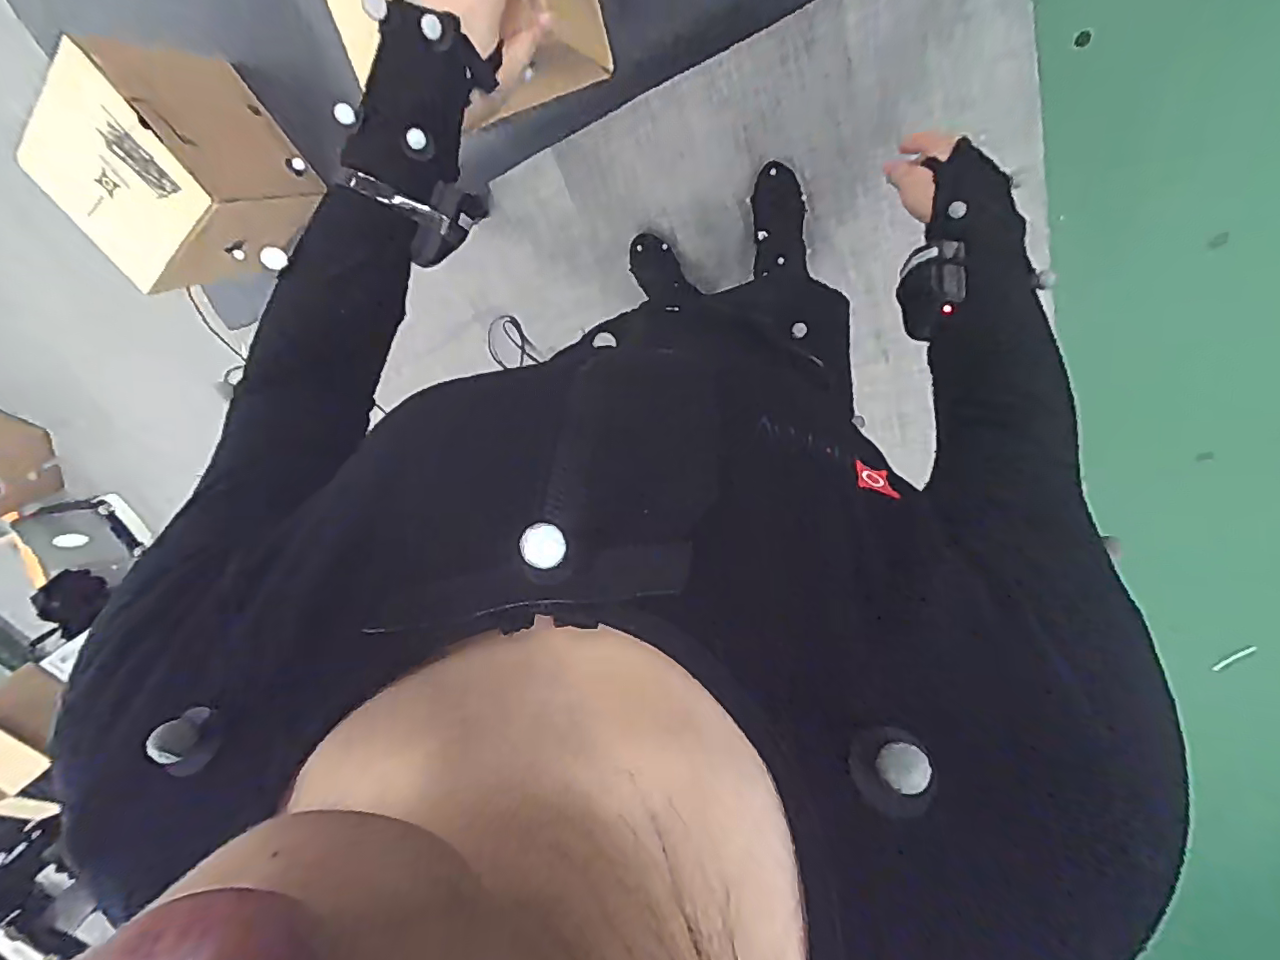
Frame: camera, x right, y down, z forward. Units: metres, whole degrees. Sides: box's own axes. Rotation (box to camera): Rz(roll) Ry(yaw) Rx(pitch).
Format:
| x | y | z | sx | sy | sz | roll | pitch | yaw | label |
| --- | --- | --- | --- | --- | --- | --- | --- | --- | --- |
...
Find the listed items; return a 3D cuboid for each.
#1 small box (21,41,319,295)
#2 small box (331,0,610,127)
| x | y | z | sx | sy | sz | roll | pitch | yaw | label |
| --- | --- | --- | --- | --- | --- | --- | --- | --- | --- |
| -0.513 | -0.347 | 0.617 | 0.179 | 0.176 | 0.168 | -25 | 112 | 27 | small box |
| -0.147 | -0.430 | 0.469 | 0.179 | 0.176 | 0.168 | -8 | 116 | 19 | small box |
